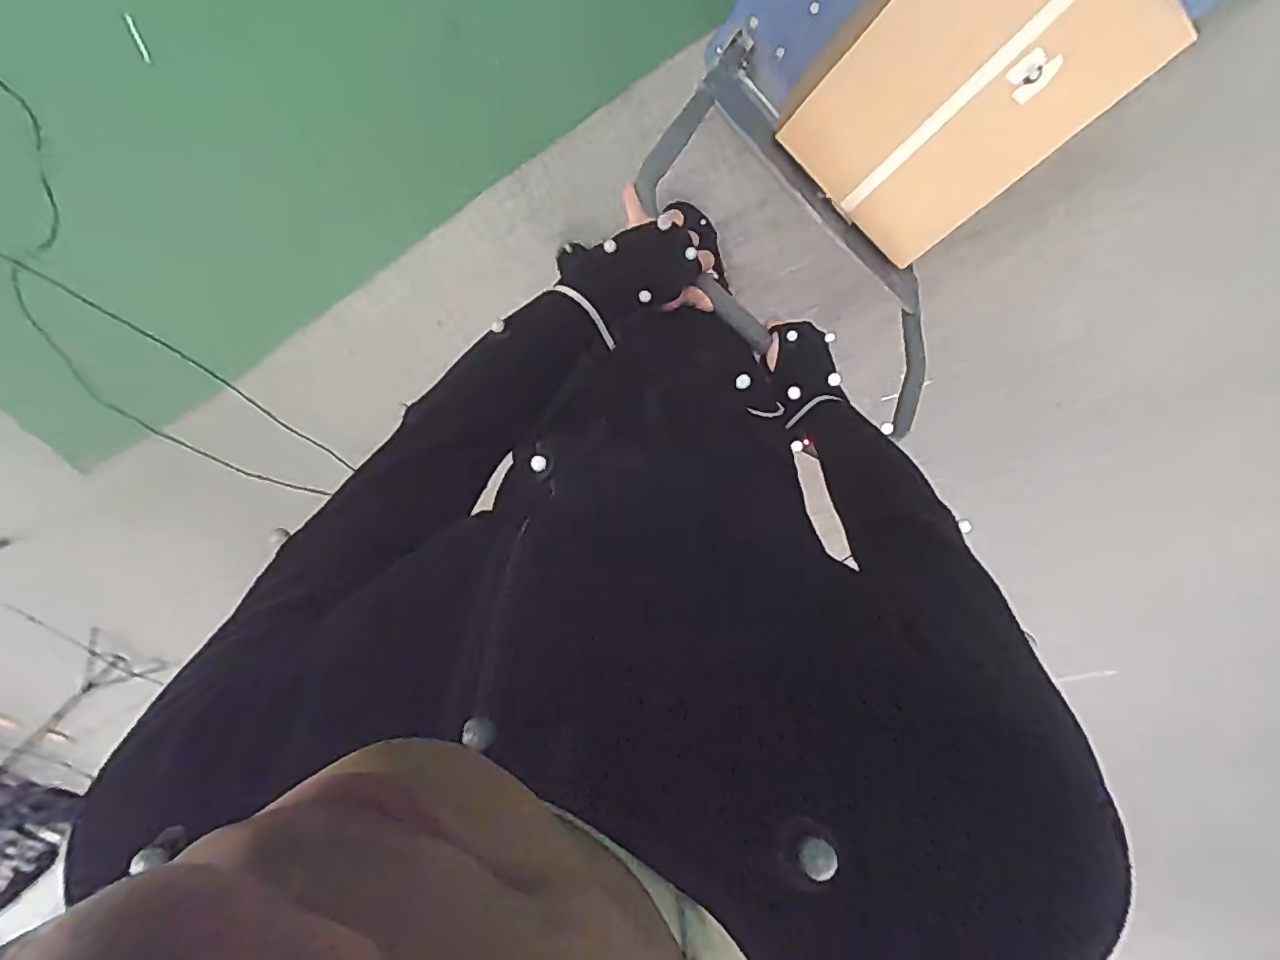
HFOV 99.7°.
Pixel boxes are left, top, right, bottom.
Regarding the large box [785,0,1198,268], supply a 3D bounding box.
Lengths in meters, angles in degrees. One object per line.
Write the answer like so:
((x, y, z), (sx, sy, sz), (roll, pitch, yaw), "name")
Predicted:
((0.485, -0.634, 0.848), (0.320, 0.320, 0.408), (36, 133, -18), "large box")
